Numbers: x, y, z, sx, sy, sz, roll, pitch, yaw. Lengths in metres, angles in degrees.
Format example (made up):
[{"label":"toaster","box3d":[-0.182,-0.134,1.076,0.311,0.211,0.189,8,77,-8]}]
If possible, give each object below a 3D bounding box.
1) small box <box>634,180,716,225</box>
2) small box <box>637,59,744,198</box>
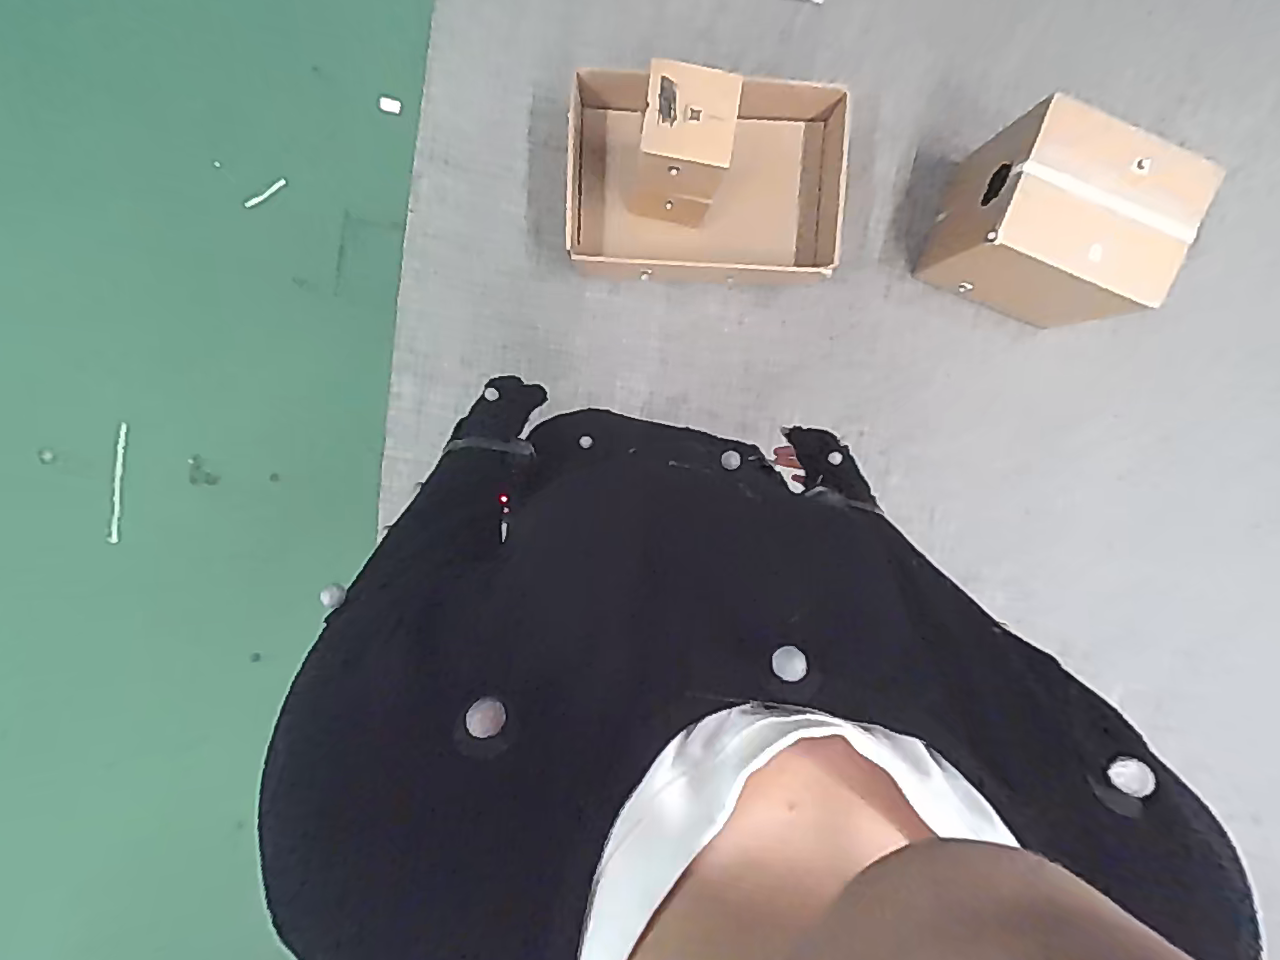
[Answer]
[{"label":"small box","box3d":[0.084,-0.712,1.248,0.179,0.176,0.168,9,97,-6]},{"label":"small box","box3d":[0.092,-0.692,1.085,0.179,0.176,0.168,8,97,-6]}]
